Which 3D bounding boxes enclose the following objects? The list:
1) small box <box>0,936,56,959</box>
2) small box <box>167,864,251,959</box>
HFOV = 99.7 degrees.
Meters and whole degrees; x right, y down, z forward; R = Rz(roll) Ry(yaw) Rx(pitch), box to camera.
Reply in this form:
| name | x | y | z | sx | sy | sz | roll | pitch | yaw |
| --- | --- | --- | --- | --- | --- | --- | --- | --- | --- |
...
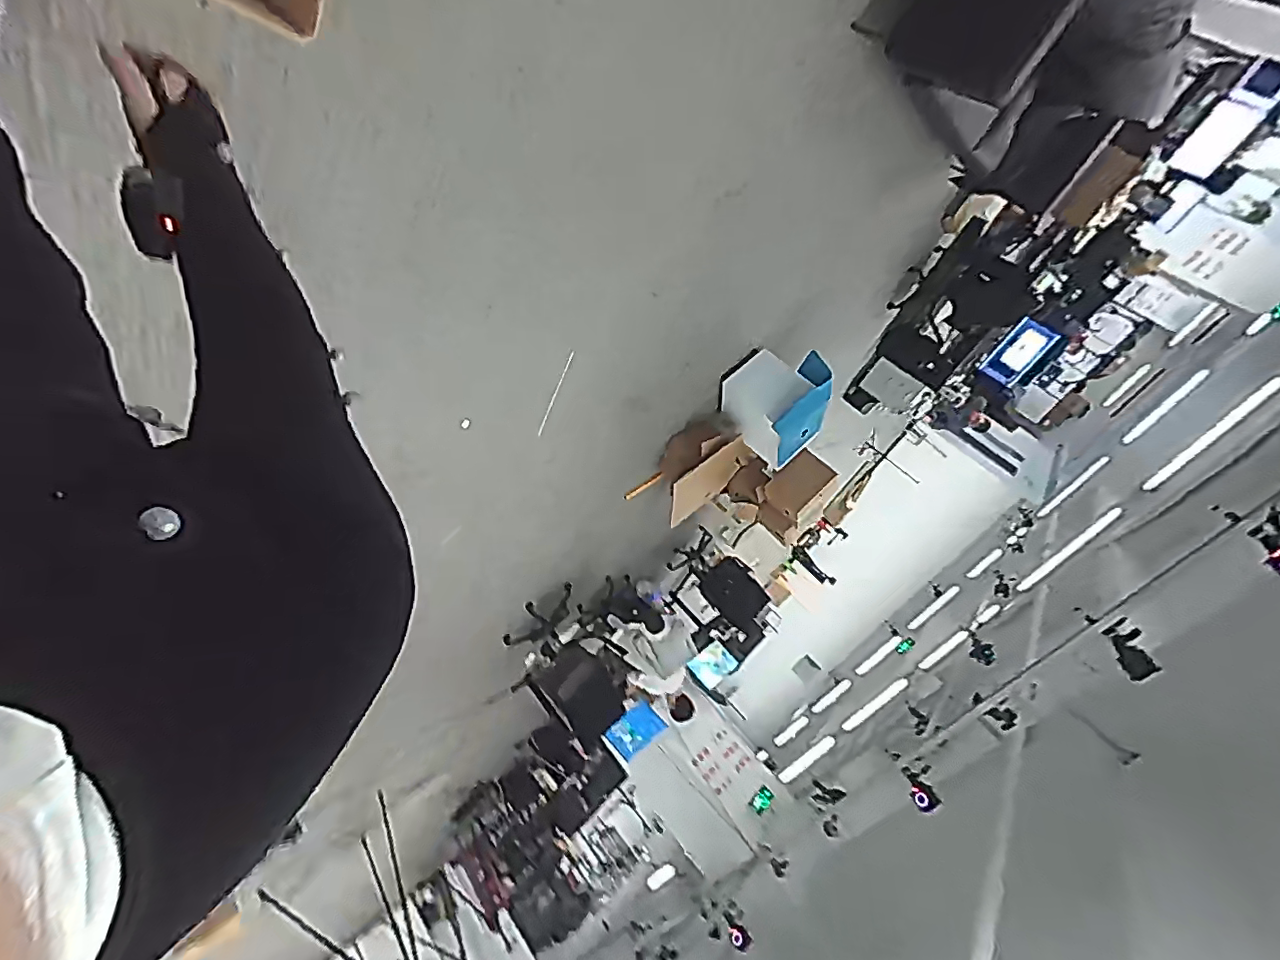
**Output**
| name | x | y | z | sx | sy | sz | roll | pitch | yaw |
| --- | --- | --- | --- | --- | --- | --- | --- | --- | --- |
| small box | -1.474 | 1.215 | 1.251 | 0.168 | 0.176 | 0.179 | -18 | 145 | -47 |
| small box | -1.349 | 1.356 | 1.695 | 0.168 | 0.176 | 0.179 | -19 | 147 | -45 |
